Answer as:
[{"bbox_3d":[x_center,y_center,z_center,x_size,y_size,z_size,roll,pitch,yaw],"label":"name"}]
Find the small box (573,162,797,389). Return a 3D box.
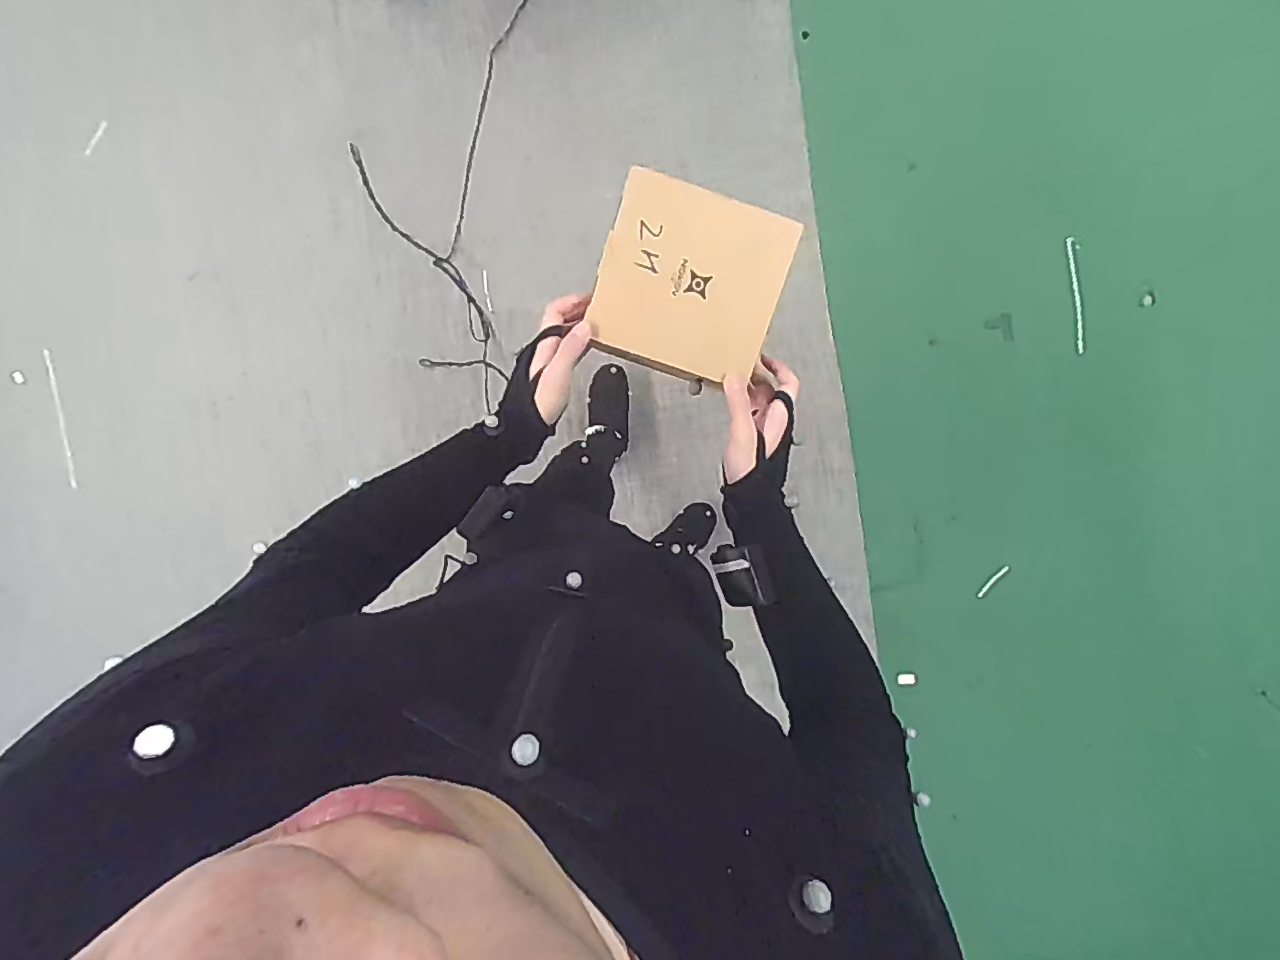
[{"bbox_3d":[0.043,-0.205,0.593,0.179,0.176,0.168,18,98,-1],"label":"small box"}]
